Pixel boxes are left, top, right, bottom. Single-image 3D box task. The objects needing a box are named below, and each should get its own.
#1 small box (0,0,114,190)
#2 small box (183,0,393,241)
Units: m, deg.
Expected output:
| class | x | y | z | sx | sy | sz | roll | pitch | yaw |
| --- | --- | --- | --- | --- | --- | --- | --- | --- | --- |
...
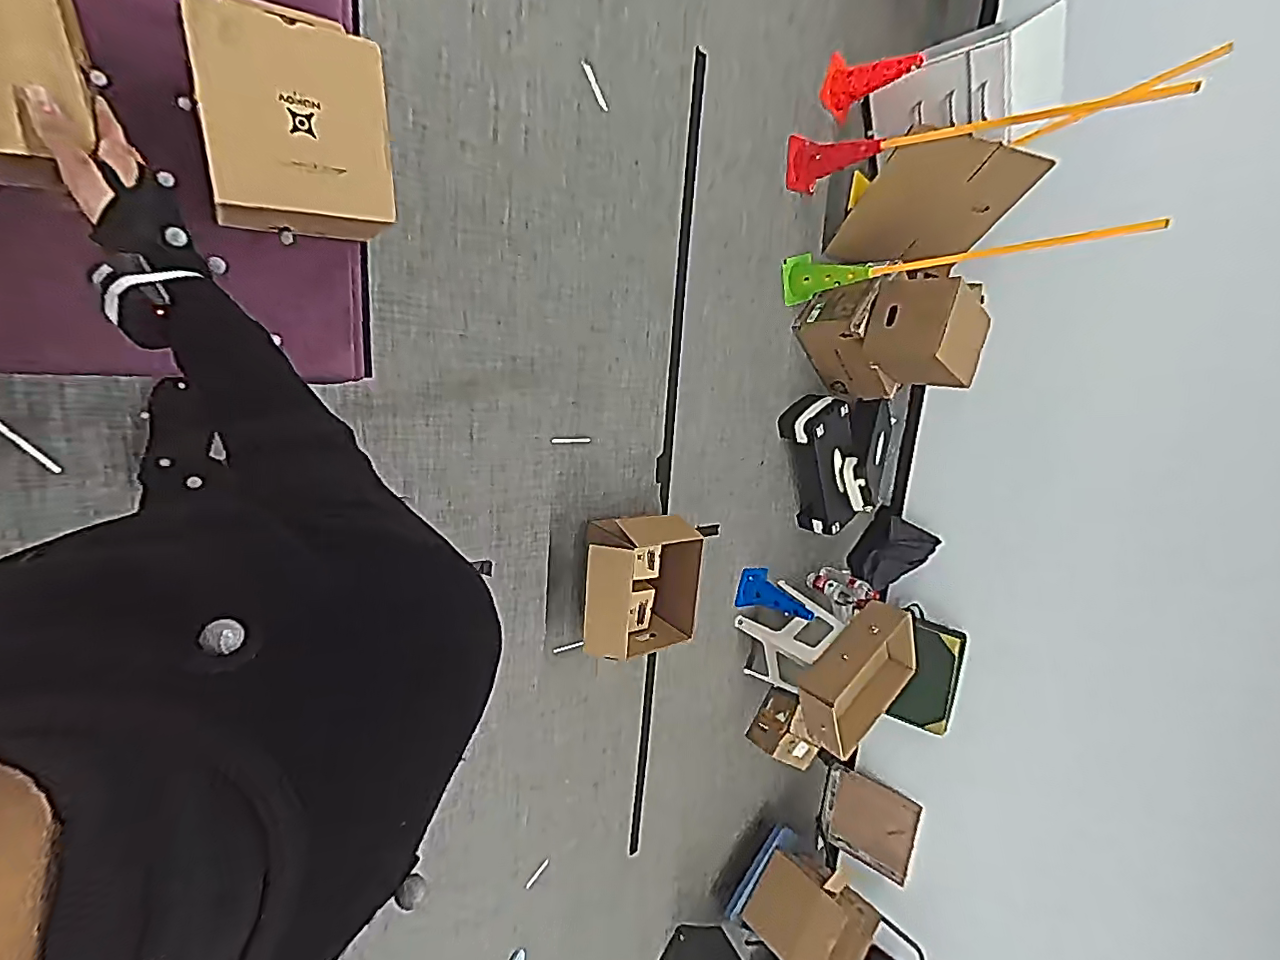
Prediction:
| class | x | y | z | sx | sy | sz | roll | pitch | yaw |
| --- | --- | --- | --- | --- | --- | --- | --- | --- | --- |
| small box | -0.579 | -0.357 | 0.452 | 0.168 | 0.176 | 0.179 | -13 | 112 | -36 |
| small box | -0.389 | -0.379 | 0.602 | 0.168 | 0.176 | 0.179 | -10 | 108 | -35 |
